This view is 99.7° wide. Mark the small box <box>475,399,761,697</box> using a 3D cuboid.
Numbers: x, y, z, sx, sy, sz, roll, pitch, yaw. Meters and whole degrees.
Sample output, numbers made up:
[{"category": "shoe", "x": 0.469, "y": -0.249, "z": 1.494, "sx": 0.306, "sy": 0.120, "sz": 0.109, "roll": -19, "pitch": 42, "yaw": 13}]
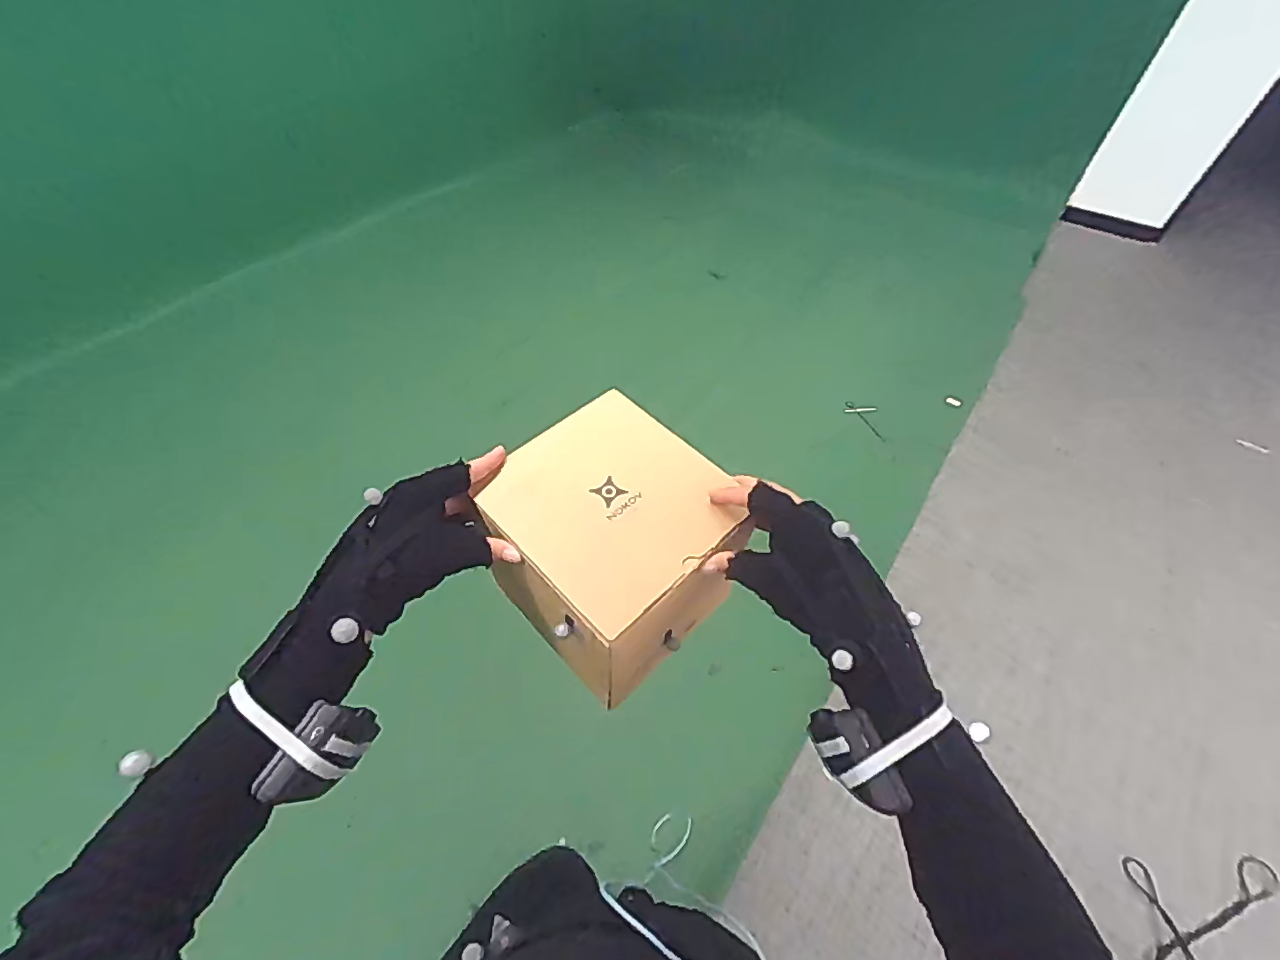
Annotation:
[{"category": "small box", "x": -0.023, "y": 0.065, "z": 0.498, "sx": 0.168, "sy": 0.176, "sz": 0.179, "roll": -37, "pitch": 64, "yaw": -27}]
